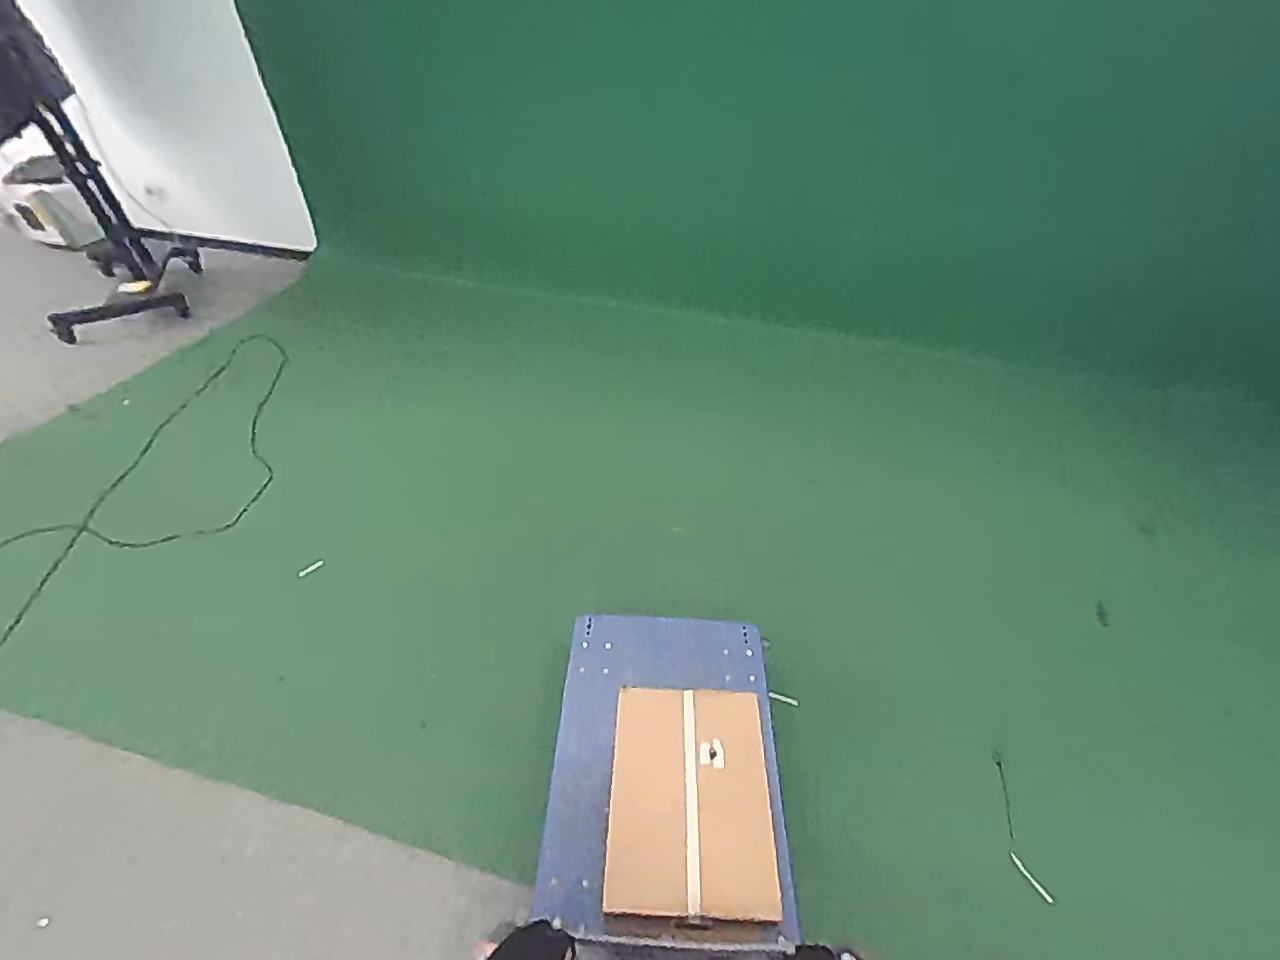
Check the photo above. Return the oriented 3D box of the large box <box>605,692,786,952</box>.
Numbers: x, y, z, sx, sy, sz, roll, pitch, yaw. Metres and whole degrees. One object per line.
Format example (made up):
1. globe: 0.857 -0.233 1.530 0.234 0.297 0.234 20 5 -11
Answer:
1. large box: 0.098 0.722 1.153 0.320 0.320 0.408 3 42 1
